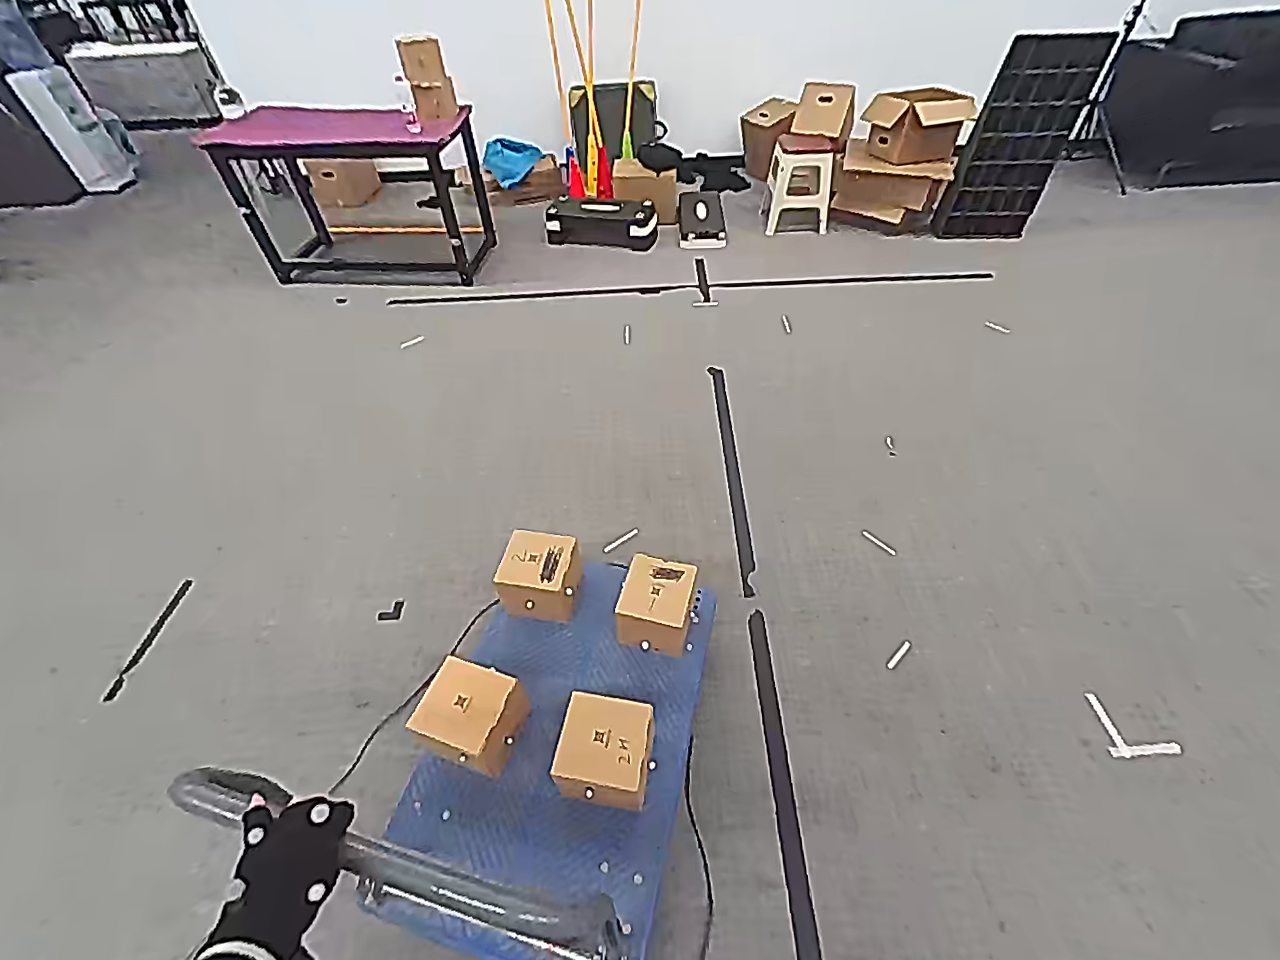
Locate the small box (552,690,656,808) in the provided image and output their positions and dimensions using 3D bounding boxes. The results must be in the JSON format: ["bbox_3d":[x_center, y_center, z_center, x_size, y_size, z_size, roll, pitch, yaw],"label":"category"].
[{"bbox_3d":[-0.067,0.569,1.137,0.179,0.176,0.168,7,48,9],"label":"small box"}]

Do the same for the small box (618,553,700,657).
[{"bbox_3d":[0.051,0.316,1.368,0.168,0.176,0.179,11,50,12],"label":"small box"}]

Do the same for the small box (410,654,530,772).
[{"bbox_3d":[-0.366,0.520,1.198,0.179,0.176,0.168,14,49,13],"label":"small box"}]
